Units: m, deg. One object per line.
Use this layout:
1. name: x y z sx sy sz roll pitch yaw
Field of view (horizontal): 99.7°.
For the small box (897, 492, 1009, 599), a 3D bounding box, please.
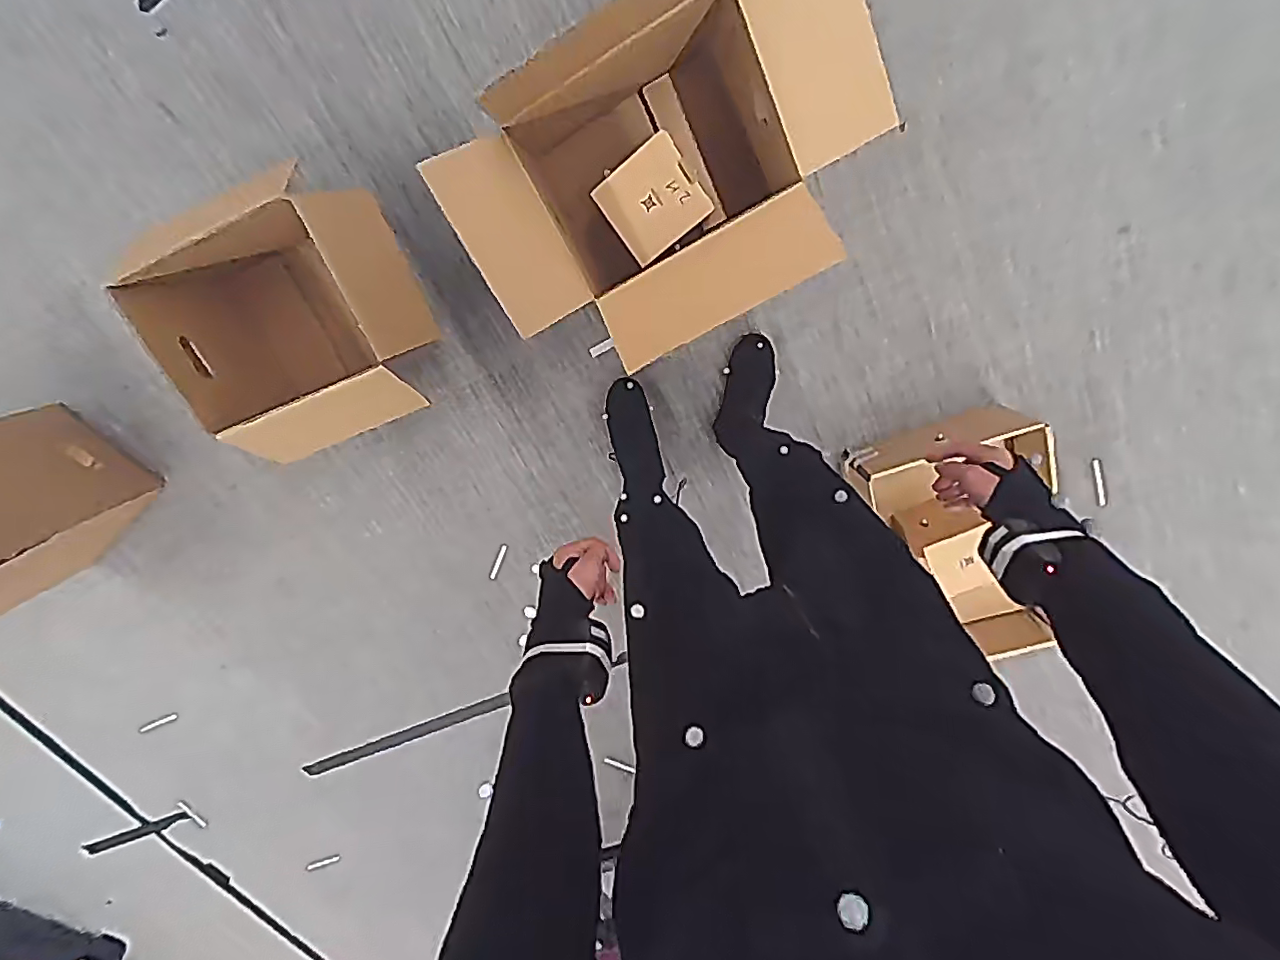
1. small box: 0.755 0.155 1.326 0.179 0.176 0.168 -23 112 11
